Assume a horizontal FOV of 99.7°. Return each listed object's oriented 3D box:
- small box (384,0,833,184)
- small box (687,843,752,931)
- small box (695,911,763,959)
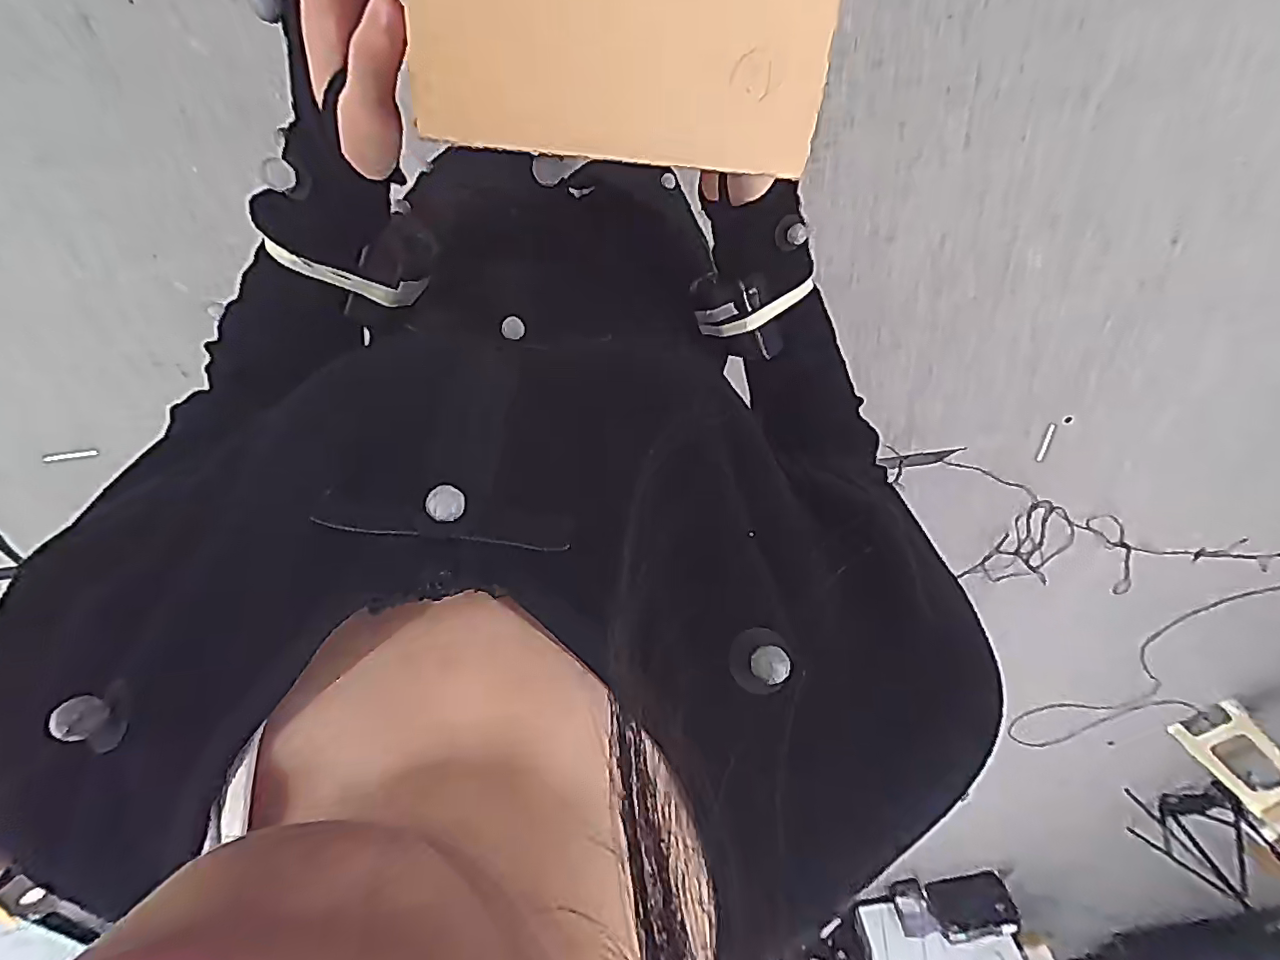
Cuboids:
[{"bbox_3d":[-0.023,-0.243,0.240,0.168,0.176,0.179,-5,122,-17],"label":"small box"},{"bbox_3d":[0.234,1.220,1.620,0.168,0.176,0.179,-6,126,-1],"label":"small box"},{"bbox_3d":[0.248,1.316,1.488,0.168,0.176,0.179,-6,127,-1],"label":"small box"}]
